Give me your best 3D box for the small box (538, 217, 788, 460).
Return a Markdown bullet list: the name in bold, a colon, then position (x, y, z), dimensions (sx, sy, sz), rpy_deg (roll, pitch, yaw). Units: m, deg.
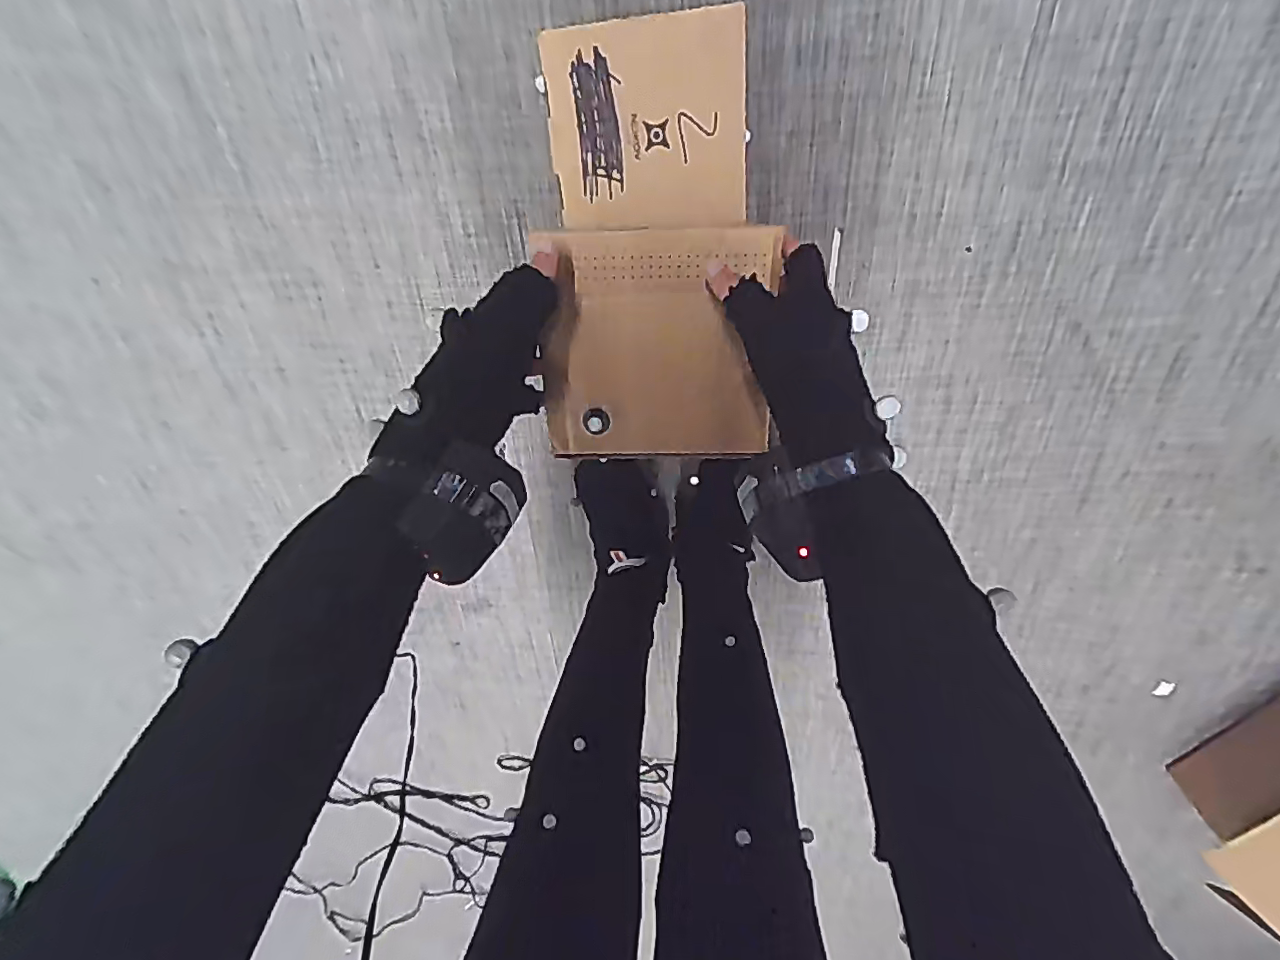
- **small box**: position (0.022, -0.129, 0.464), dimensions (0.179, 0.168, 0.176), rpy_deg (0, 117, 3)
